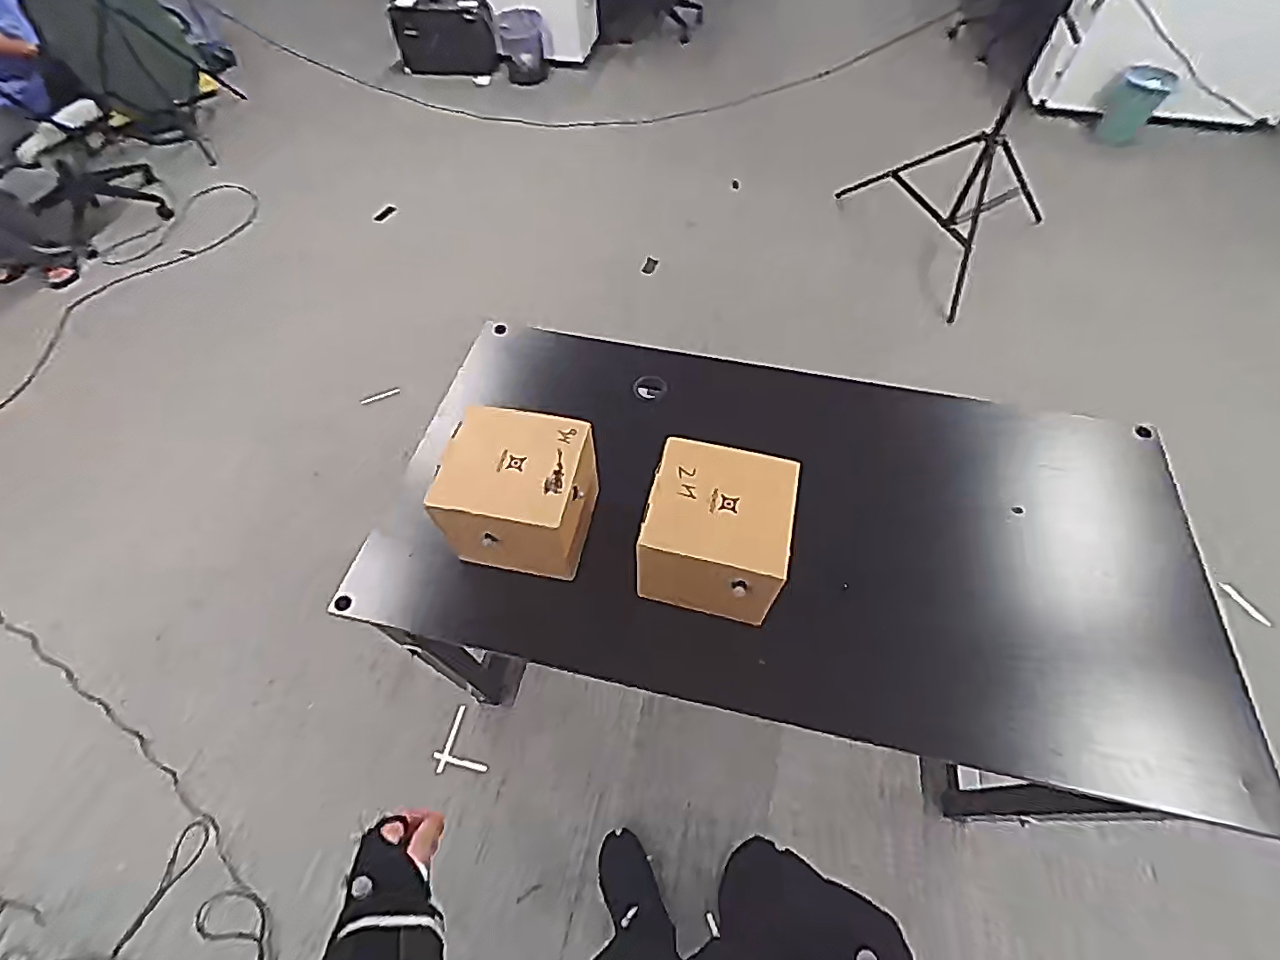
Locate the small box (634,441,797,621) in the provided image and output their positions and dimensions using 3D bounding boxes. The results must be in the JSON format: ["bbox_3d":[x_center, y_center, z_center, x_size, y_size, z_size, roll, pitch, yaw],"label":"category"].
[{"bbox_3d":[0.097,0.075,0.726,0.179,0.176,0.168,12,58,8],"label":"small box"}]

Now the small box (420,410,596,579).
[{"bbox_3d":[-0.169,0.026,0.761,0.179,0.176,0.168,9,58,6],"label":"small box"}]
